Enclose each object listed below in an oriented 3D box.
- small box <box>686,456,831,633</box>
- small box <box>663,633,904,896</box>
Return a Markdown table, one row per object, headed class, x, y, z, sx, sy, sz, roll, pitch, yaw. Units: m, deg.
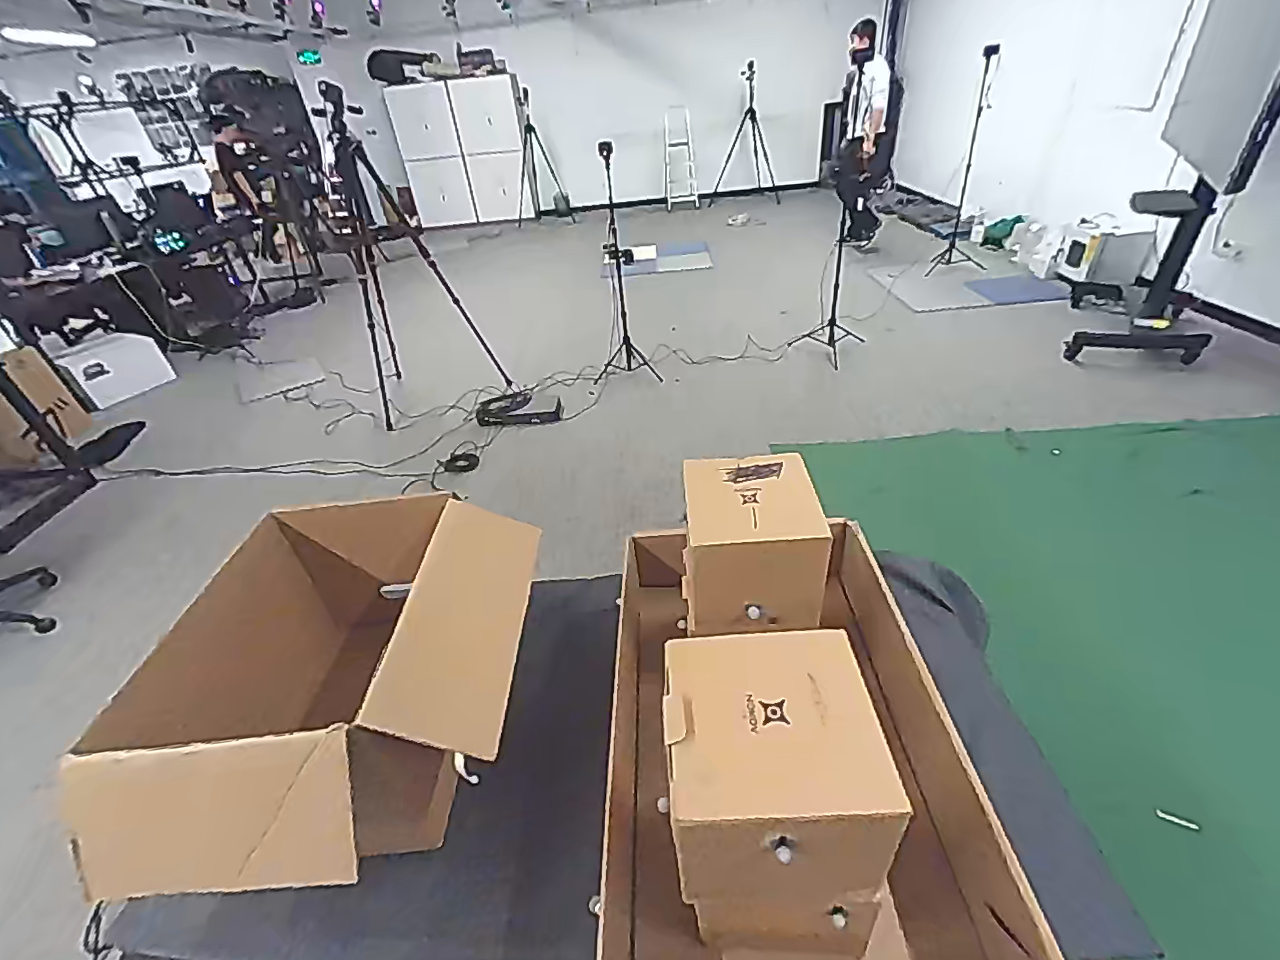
| class | x | y | z | sx | sy | sz | roll | pitch | yaw |
| --- | --- | --- | --- | --- | --- | --- | --- | --- | --- |
| small box | 0.149 | 0.087 | 0.741 | 0.168 | 0.176 | 0.179 | -4 | 38 | 4 |
| small box | 0.117 | 0.267 | 0.509 | 0.179 | 0.176 | 0.168 | -4 | 37 | 3 |
